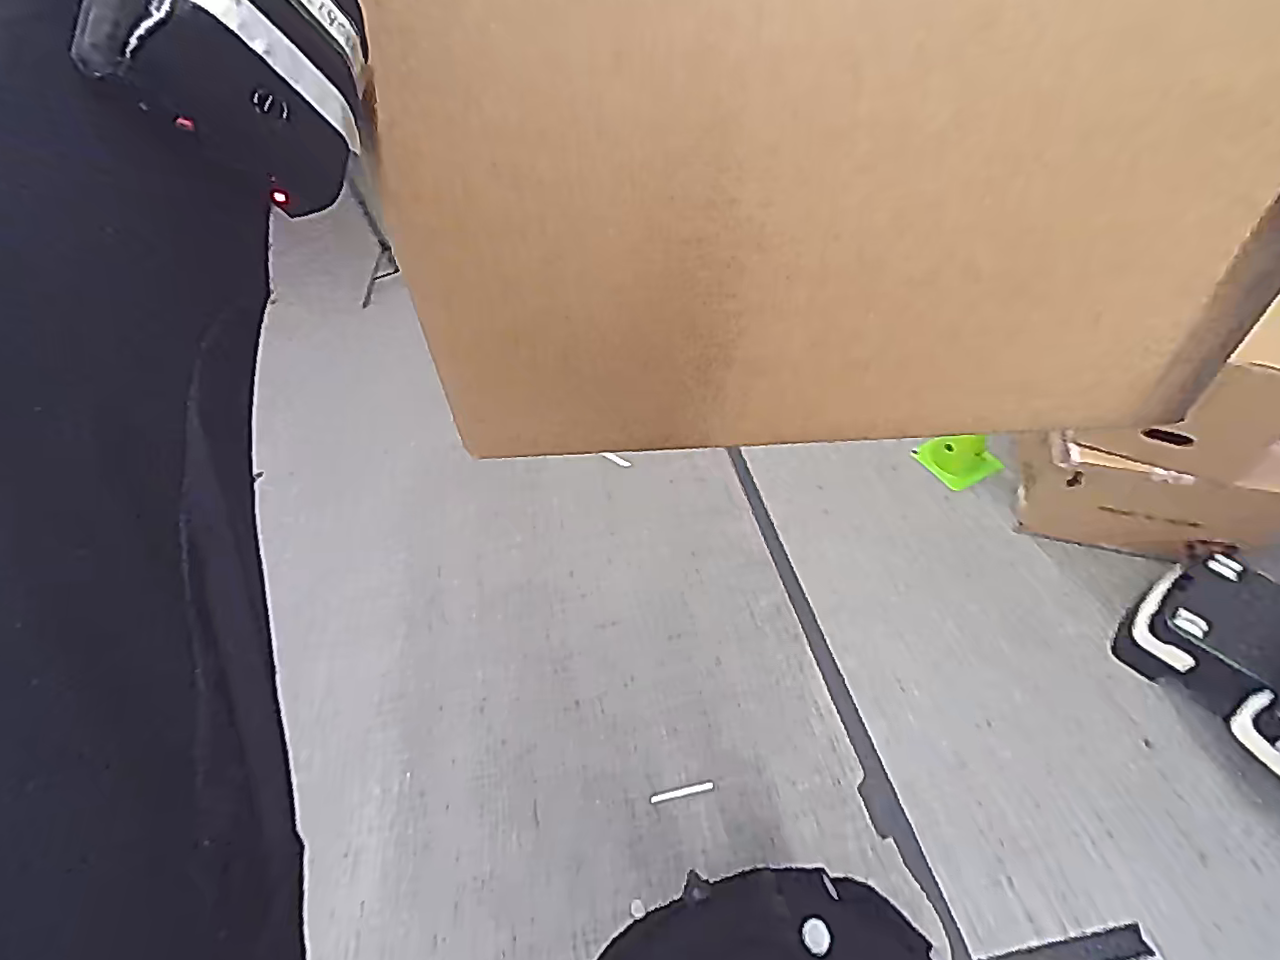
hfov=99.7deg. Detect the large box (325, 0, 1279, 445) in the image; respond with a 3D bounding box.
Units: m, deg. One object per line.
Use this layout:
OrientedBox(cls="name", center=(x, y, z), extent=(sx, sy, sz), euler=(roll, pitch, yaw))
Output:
OrientedBox(cls="large box", center=(0.082, -0.240, 0.324), extent=(0.408, 0.320, 0.320), euler=(-3, 43, 0))
